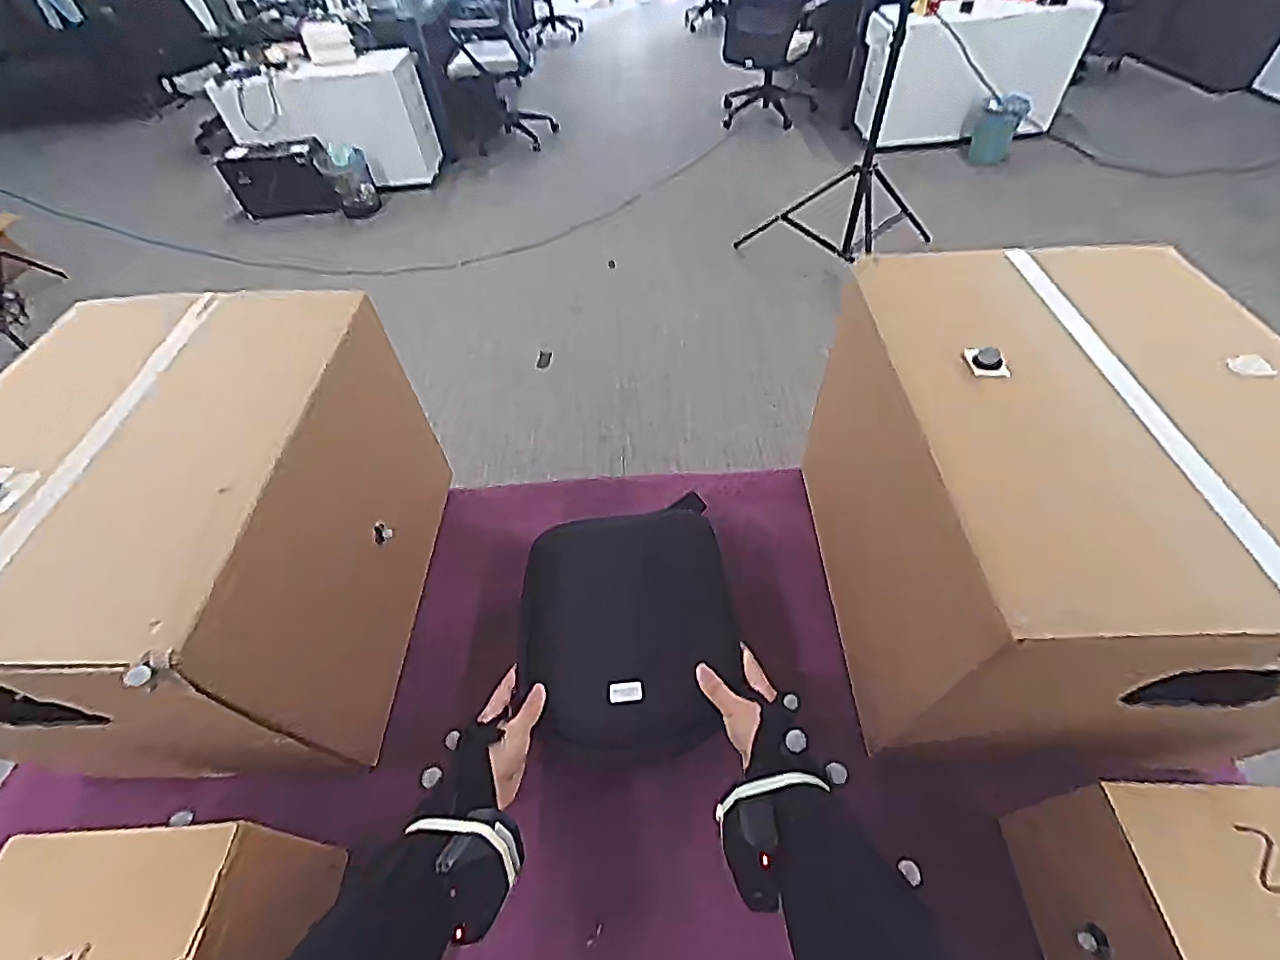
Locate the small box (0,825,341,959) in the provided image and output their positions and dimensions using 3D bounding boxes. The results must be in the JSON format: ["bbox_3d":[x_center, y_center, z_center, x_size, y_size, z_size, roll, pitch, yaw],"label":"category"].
[{"bbox_3d":[-0.373,0.378,0.413,0.179,0.176,0.168,-4,49,1],"label":"small box"}]

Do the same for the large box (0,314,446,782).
[{"bbox_3d":[-0.436,0.071,0.583,0.320,0.320,0.408,-3,52,1],"label":"large box"}]
